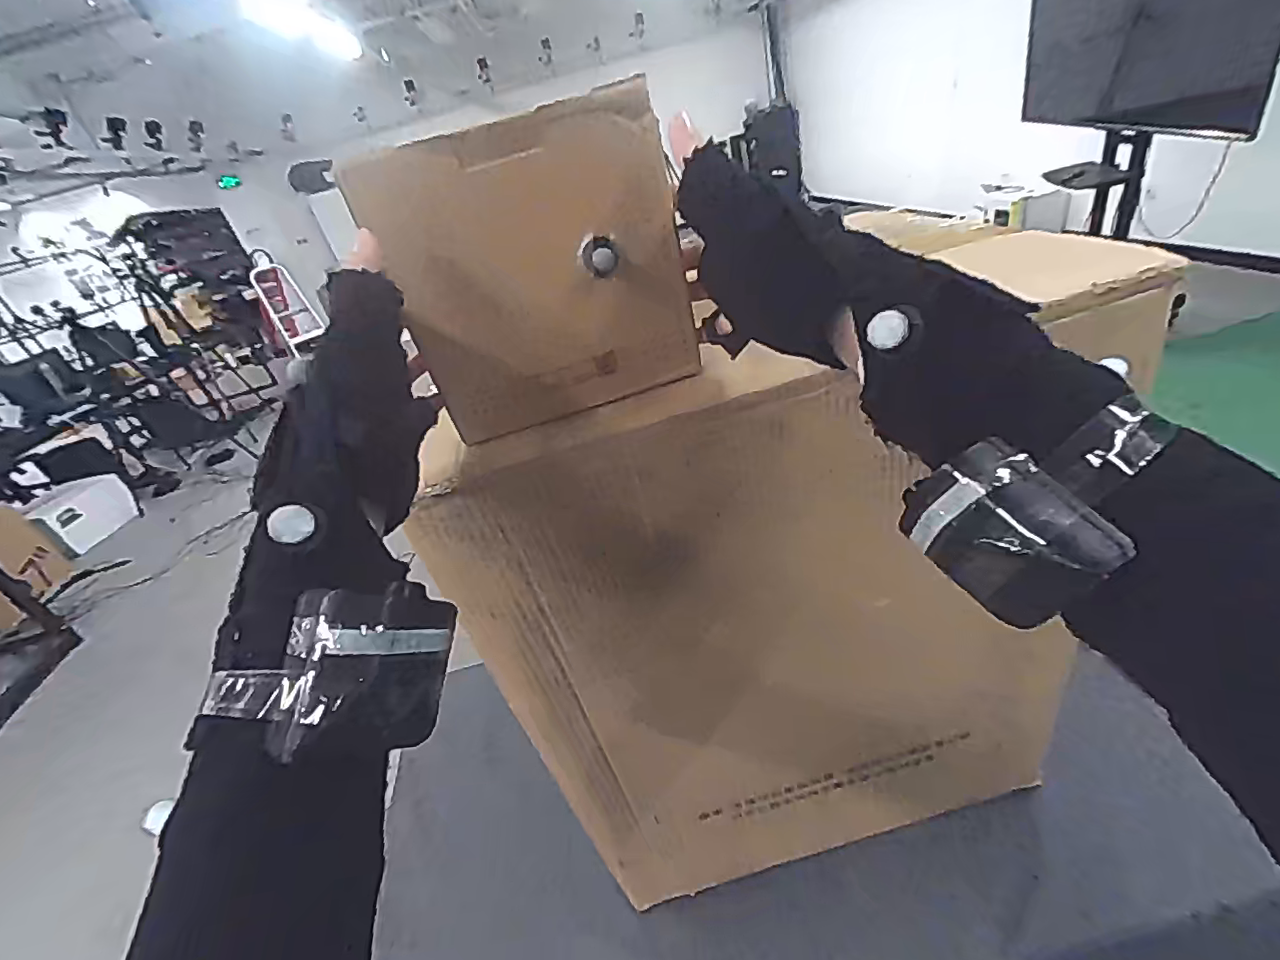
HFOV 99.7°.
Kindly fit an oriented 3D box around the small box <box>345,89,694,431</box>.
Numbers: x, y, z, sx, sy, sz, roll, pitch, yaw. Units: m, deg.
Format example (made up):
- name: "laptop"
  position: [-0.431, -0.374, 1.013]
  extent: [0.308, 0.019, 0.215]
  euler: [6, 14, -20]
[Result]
- name: "small box"
  position: [-0.069, -0.149, 0.385]
  extent: [0.168, 0.176, 0.179]
  euler: [-16, 32, -4]
